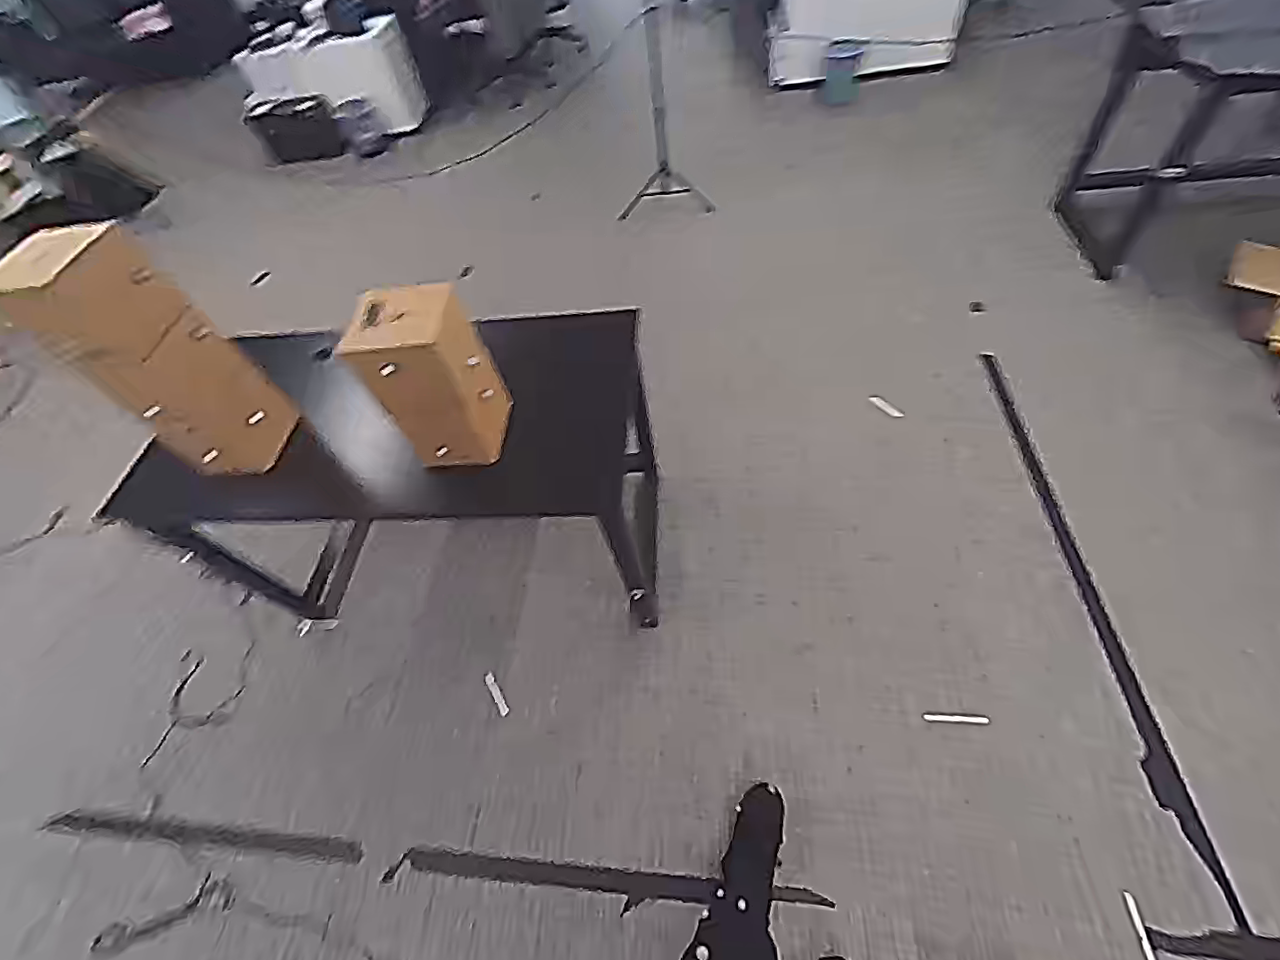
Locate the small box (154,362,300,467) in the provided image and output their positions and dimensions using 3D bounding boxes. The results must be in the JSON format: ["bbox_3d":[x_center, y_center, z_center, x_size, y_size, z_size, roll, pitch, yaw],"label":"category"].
[{"bbox_3d":[-0.918,-0.141,1.223,0.168,0.176,0.179,-2,56,7],"label":"small box"}]

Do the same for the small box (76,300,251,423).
[{"bbox_3d":[-0.939,-0.236,1.090,0.168,0.176,0.179,-2,55,8],"label":"small box"}]

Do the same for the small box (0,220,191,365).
[{"bbox_3d":[-0.959,-0.327,0.957,0.168,0.176,0.179,-3,55,9],"label":"small box"}]

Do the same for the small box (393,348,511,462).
[{"bbox_3d":[-0.386,-0.157,1.150,0.168,0.176,0.179,-1,56,8],"label":"small box"}]

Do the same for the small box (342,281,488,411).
[{"bbox_3d":[-0.408,-0.245,1.012,0.179,0.176,0.168,-4,55,6],"label":"small box"}]
